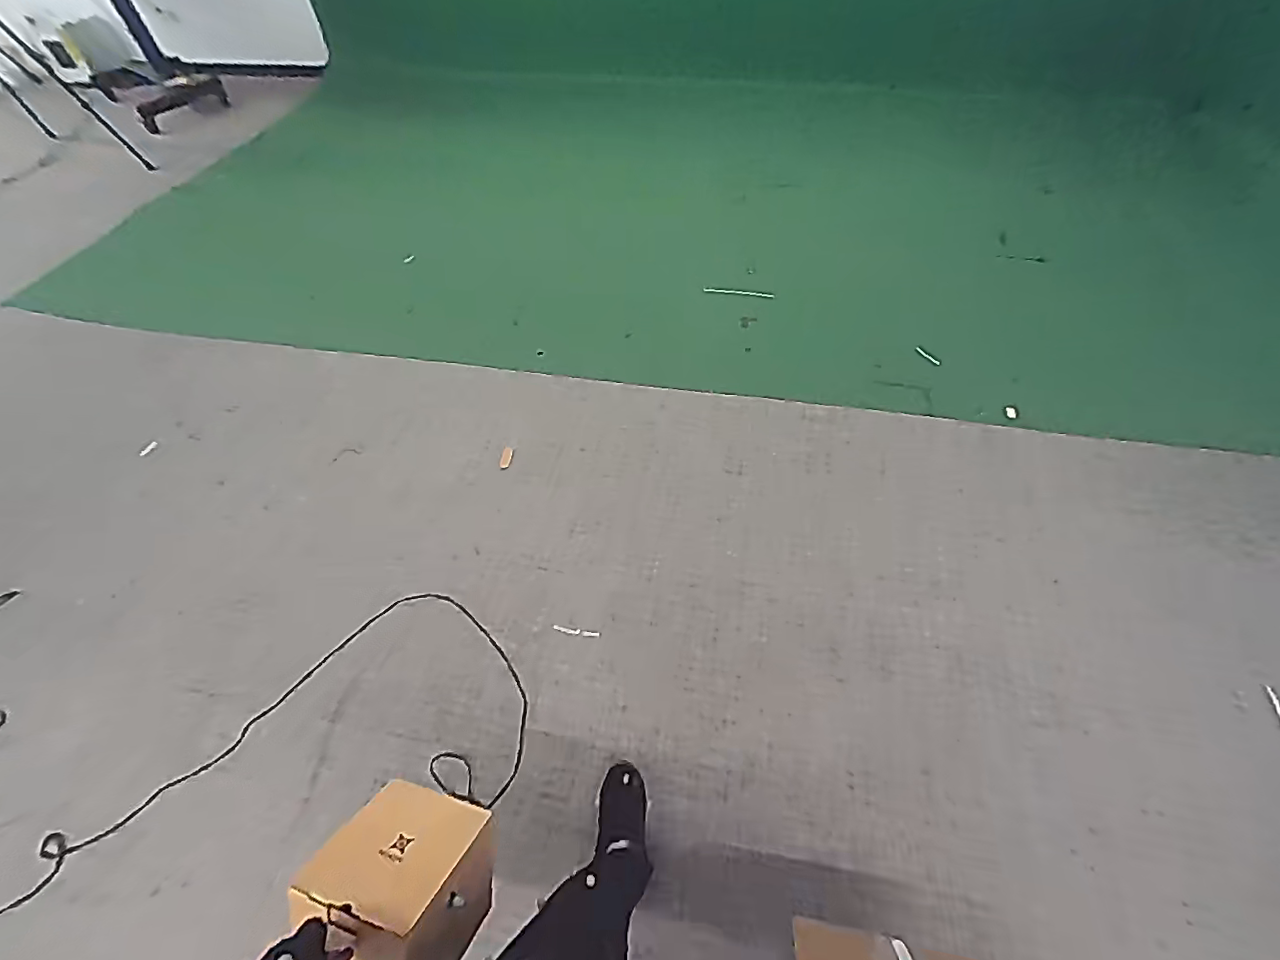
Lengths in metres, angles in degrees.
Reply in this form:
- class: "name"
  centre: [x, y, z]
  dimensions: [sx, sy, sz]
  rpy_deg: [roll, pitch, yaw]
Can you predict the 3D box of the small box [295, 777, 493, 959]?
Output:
- class: "small box"
  centre: [-0.313, 0.542, 0.708]
  dimensions: [0.168, 0.176, 0.179]
  rpy_deg: [9, 16, 16]
